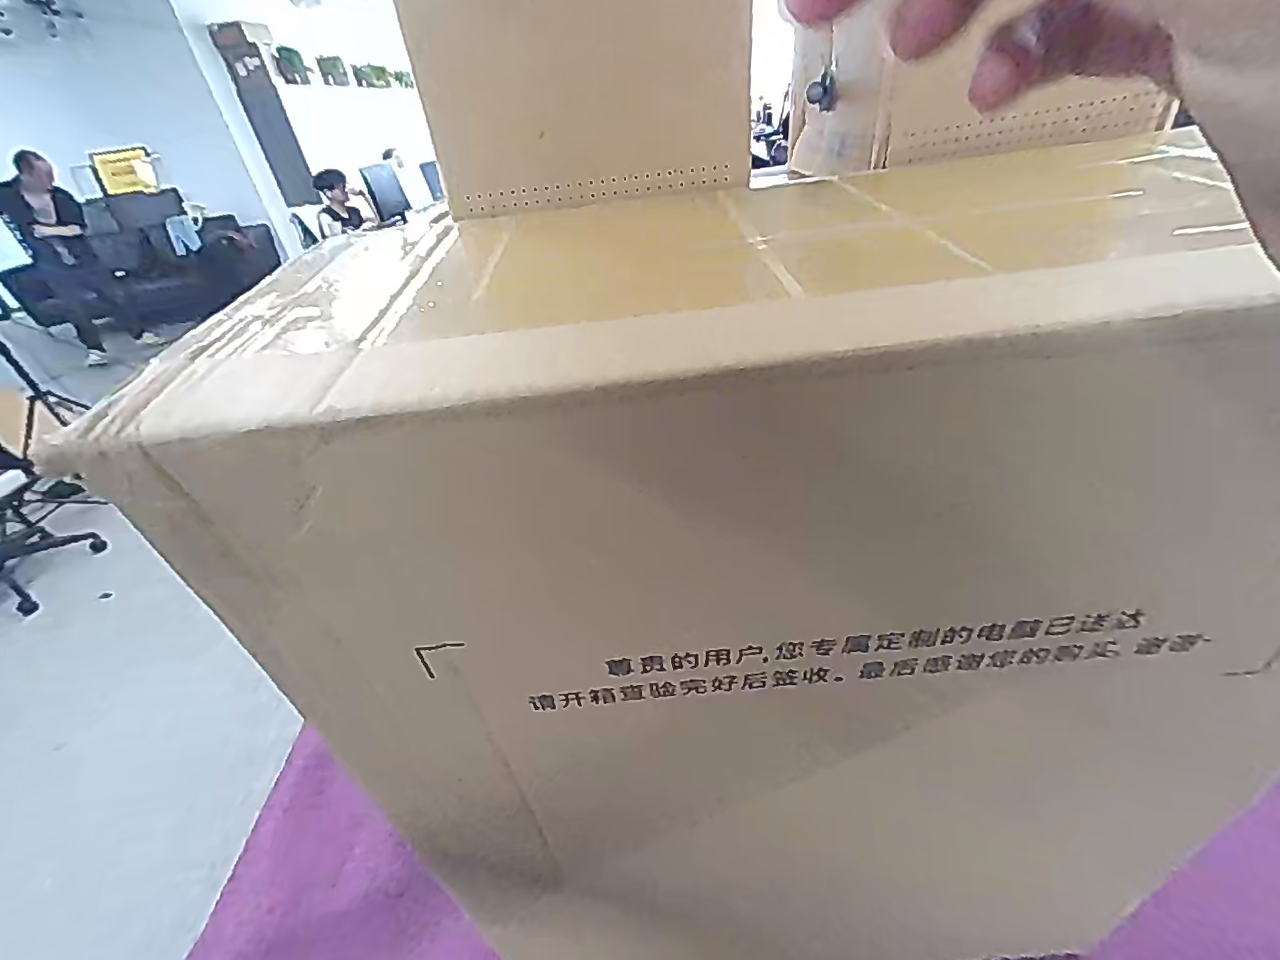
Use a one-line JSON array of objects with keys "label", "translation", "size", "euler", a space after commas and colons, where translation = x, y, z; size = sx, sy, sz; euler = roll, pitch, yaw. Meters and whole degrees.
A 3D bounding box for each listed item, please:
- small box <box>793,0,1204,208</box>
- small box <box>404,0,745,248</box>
[{"label": "small box", "translation": [0.209, -0.289, 0.344], "size": [0.179, 0.176, 0.168], "euler": [-11, 35, -1]}, {"label": "small box", "translation": [-0.033, -0.255, 0.339], "size": [0.179, 0.176, 0.168], "euler": [-6, 37, 0]}]
